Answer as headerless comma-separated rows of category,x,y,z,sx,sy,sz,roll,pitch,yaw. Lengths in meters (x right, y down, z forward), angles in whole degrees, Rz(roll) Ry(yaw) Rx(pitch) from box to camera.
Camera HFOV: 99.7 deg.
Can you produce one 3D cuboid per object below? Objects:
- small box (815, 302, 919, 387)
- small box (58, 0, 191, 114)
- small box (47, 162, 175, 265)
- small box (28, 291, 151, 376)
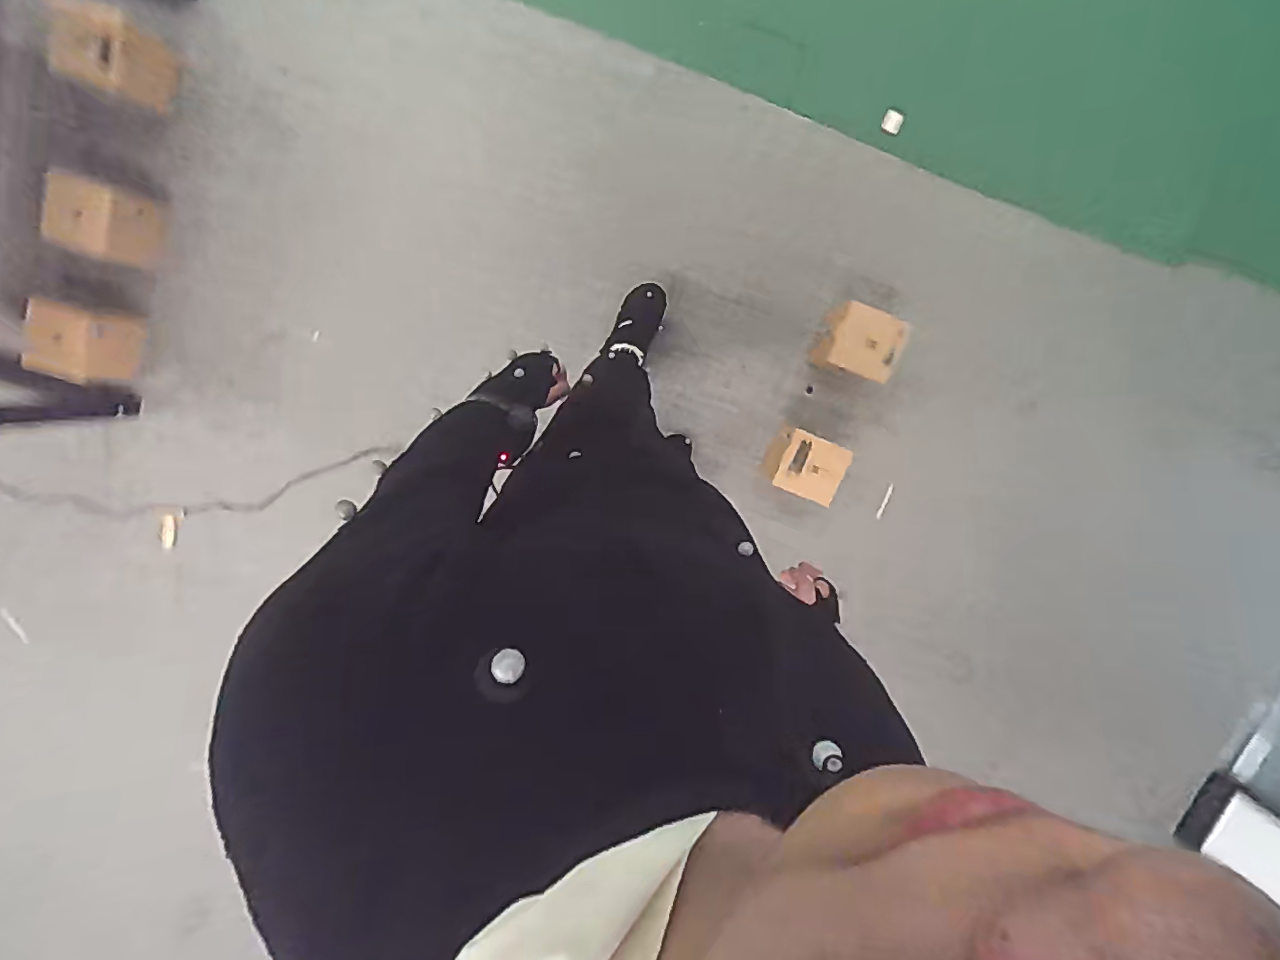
small box,0.596,-0.356,1.451,0.179,0.176,0.168,22,101,-3
small box,-1.276,-1.054,1.350,0.179,0.176,0.168,17,101,-1
small box,-1.382,-0.692,1.424,0.168,0.176,0.179,20,101,-2
small box,-1.503,-0.396,1.486,0.168,0.176,0.179,19,101,-3
